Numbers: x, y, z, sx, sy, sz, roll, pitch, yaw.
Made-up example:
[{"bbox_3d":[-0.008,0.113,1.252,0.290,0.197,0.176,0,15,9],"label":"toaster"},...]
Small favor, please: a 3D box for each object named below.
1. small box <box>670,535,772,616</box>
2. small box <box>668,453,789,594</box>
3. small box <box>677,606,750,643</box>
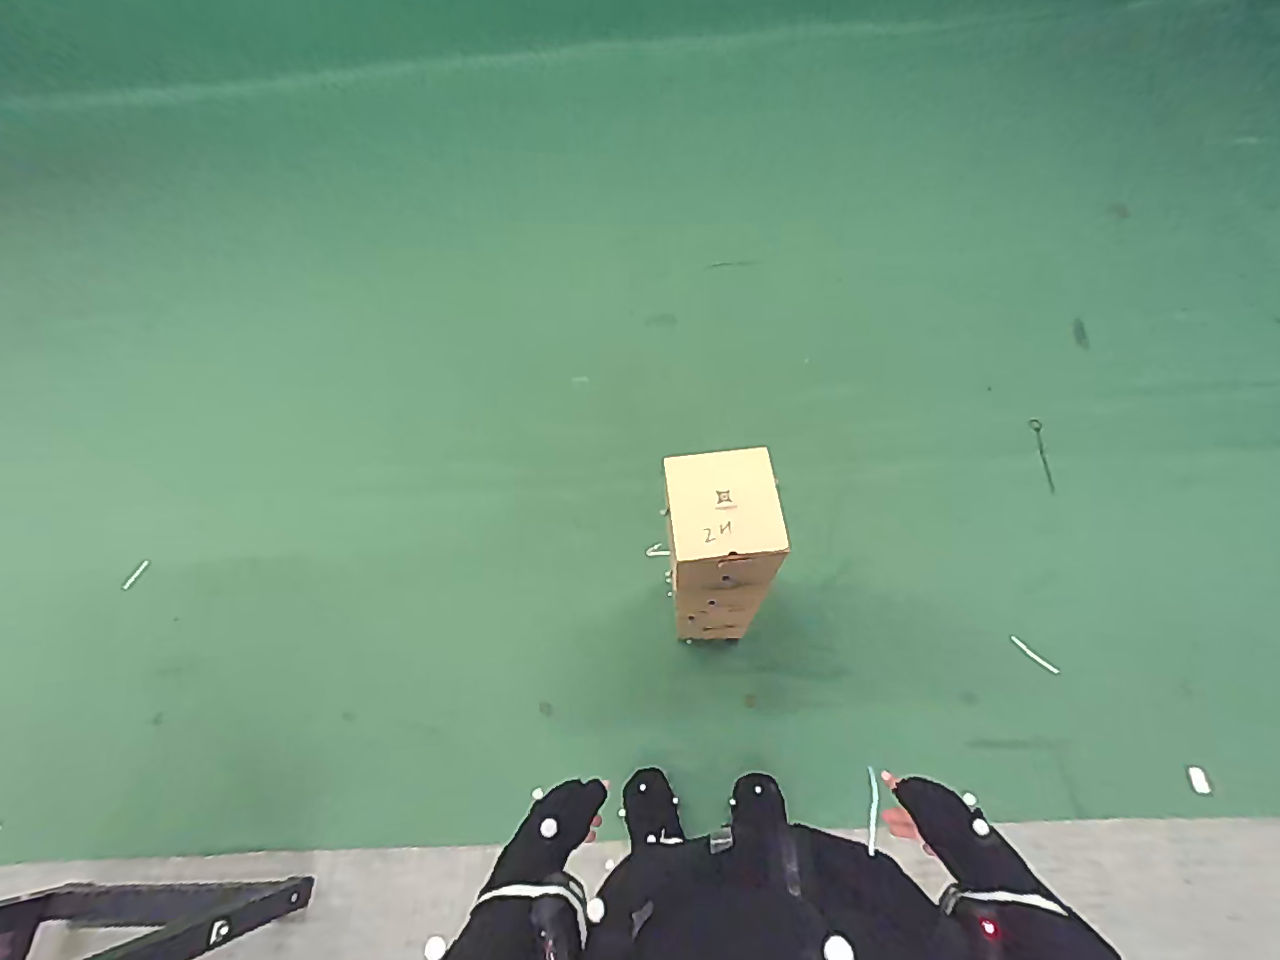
[{"bbox_3d":[0.146,0.152,1.039,0.168,0.176,0.179,-6,64,1],"label":"small box"},{"bbox_3d":[0.134,0.077,0.893,0.168,0.176,0.179,-6,64,1],"label":"small box"},{"bbox_3d":[0.174,0.301,1.329,0.168,0.176,0.179,-3,63,3],"label":"small box"}]
